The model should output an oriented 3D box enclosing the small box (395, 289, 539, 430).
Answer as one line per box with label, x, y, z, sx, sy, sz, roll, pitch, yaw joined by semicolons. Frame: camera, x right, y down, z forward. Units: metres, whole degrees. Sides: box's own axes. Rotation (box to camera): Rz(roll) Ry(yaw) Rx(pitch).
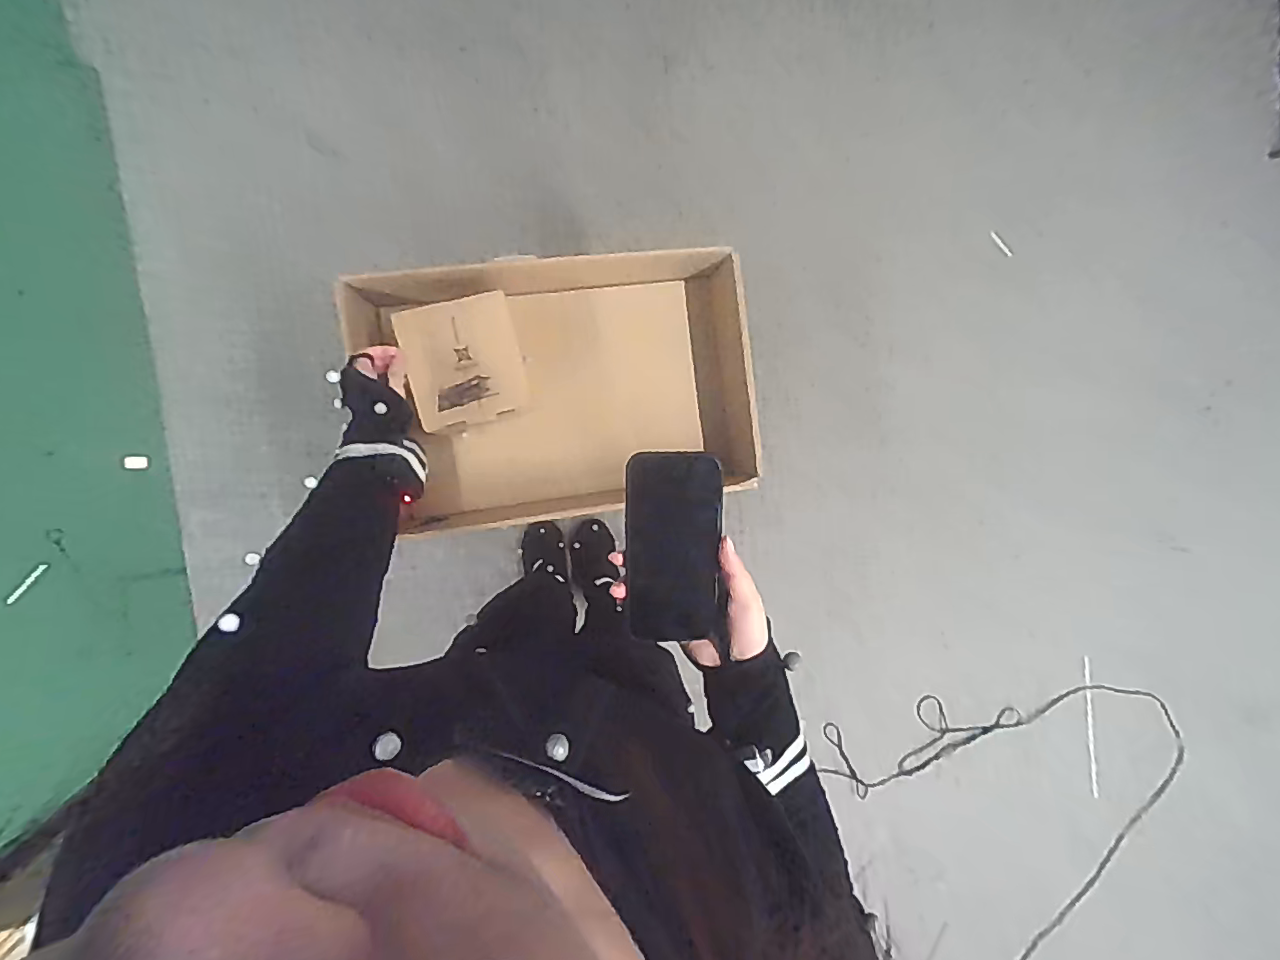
small box;-0.263;-0.181;0.865;0.168;0.176;0.179;-15;95;-7
